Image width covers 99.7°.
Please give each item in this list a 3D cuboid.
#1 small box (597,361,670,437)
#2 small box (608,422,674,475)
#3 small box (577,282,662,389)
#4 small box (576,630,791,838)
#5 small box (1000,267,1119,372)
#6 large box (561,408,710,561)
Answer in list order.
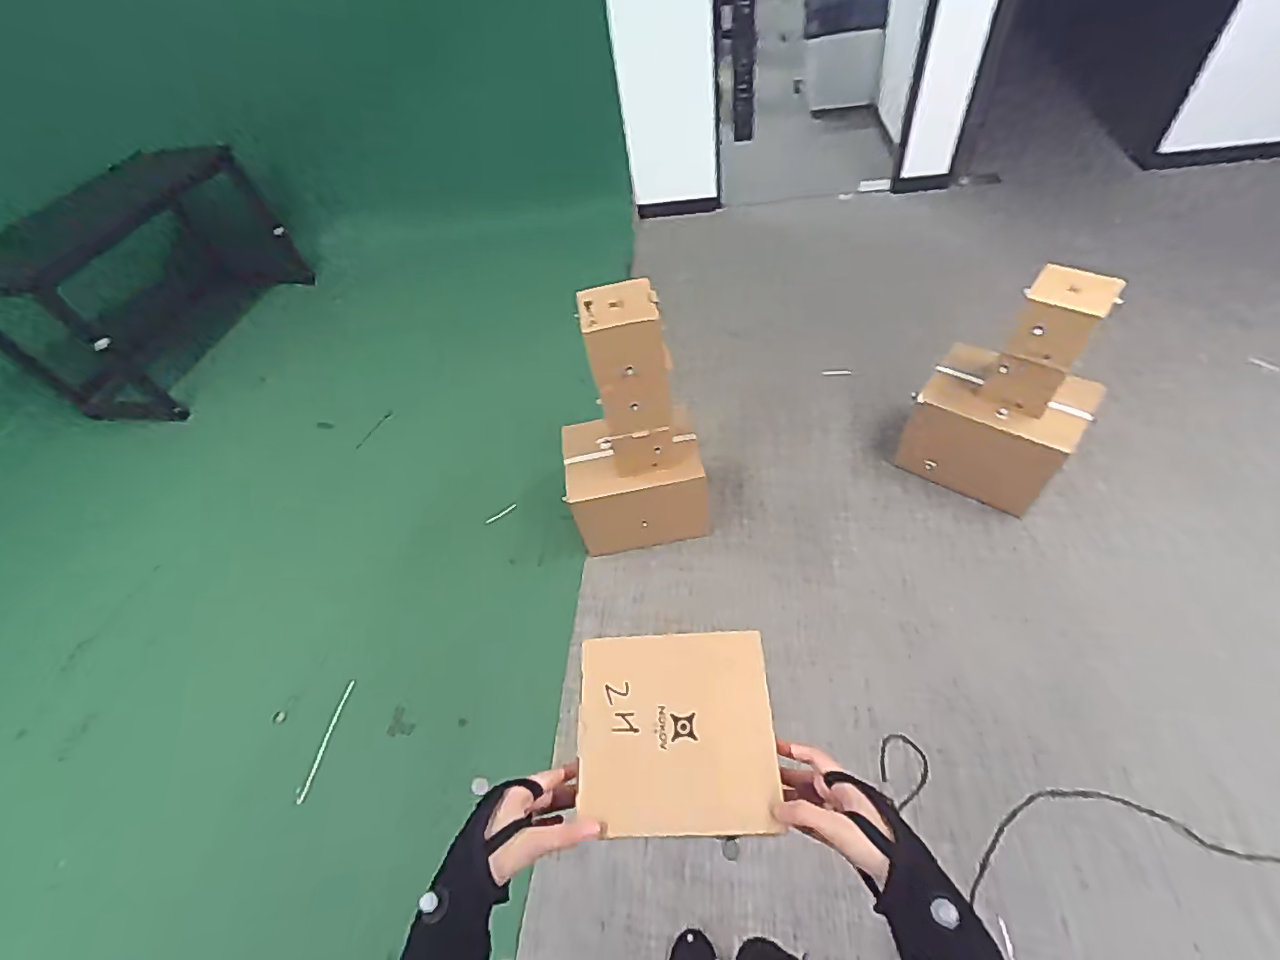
[{"bbox_3d":[-0.020,-0.236,1.413,0.179,0.176,0.168,-12,50,1],"label":"small box"},{"bbox_3d":[-0.001,-0.131,1.536,0.168,0.176,0.179,-11,50,1],"label":"small box"},{"bbox_3d":[-0.045,-0.340,1.287,0.179,0.176,0.168,-10,50,0],"label":"small box"},{"bbox_3d":[0.042,0.259,0.544,0.179,0.176,0.168,-4,55,5],"label":"small box"},{"bbox_3d":[1.041,-0.400,1.357,0.168,0.176,0.179,30,60,29],"label":"small box"},{"bbox_3d":[-0.010,0.020,1.733,0.408,0.320,0.320,-12,49,2],"label":"large box"}]
